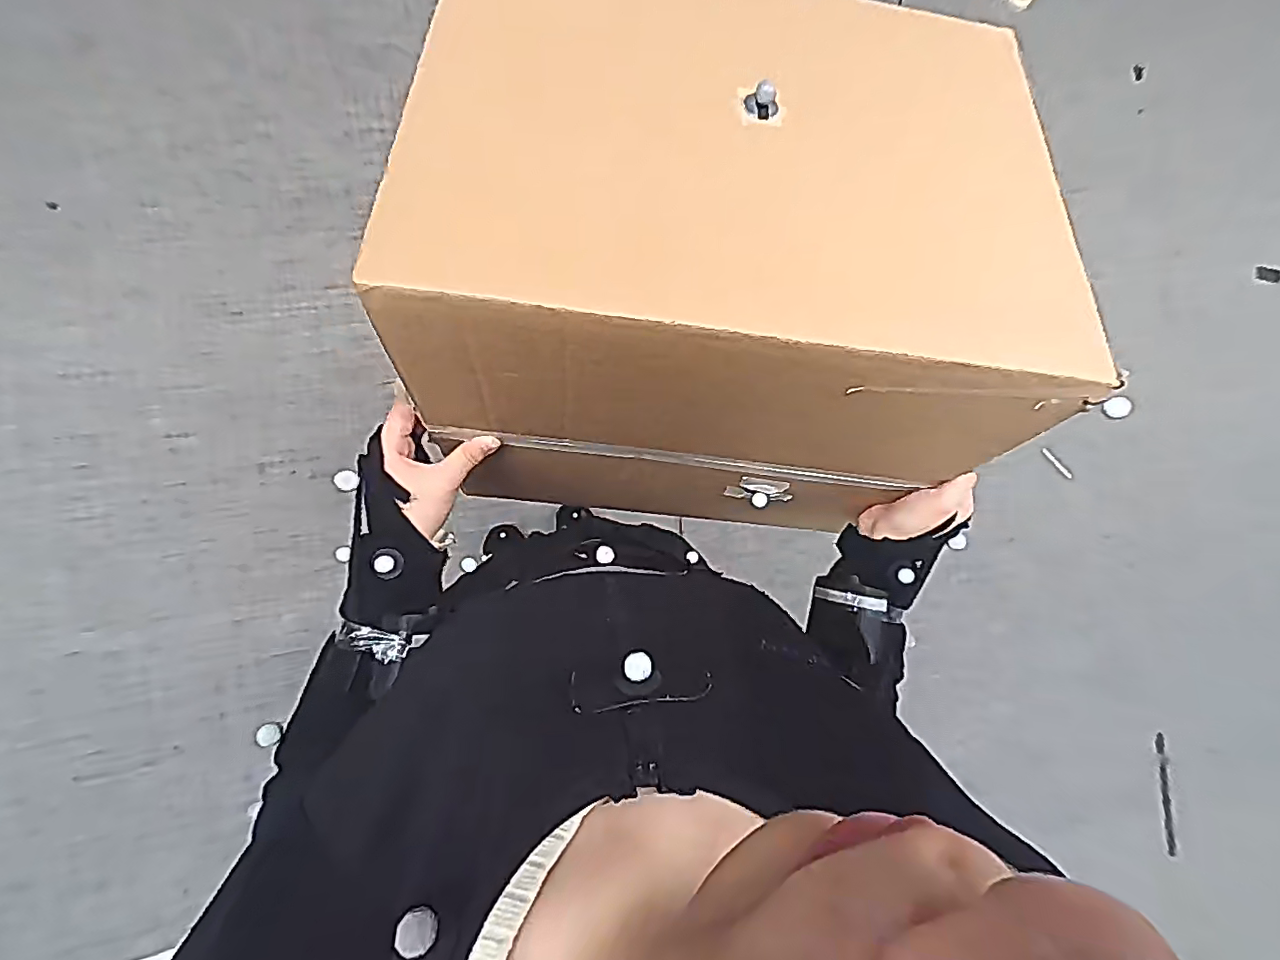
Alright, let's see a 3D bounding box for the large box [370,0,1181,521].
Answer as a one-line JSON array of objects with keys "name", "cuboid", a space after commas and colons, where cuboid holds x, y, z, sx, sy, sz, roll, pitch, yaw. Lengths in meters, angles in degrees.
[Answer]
[{"name": "large box", "cuboid": [0.064, -0.169, 0.446, 0.408, 0.320, 0.320, 5, 69, -6]}]
